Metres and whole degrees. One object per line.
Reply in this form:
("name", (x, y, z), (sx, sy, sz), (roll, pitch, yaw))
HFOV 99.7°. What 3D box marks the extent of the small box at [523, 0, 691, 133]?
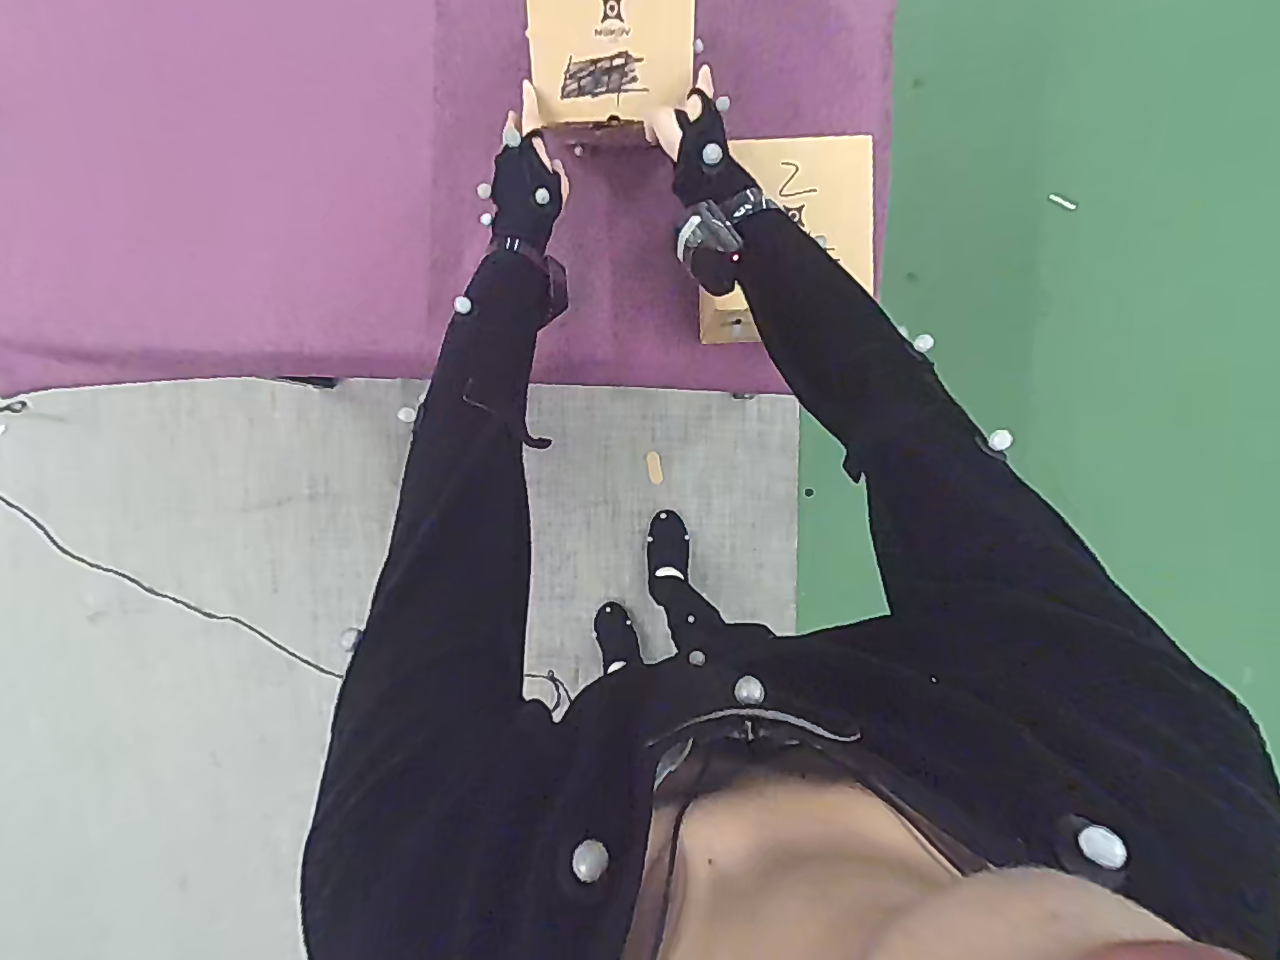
("small box", (-0.030, -0.494, 0.593), (0.168, 0.176, 0.179), (0, 113, 0))
